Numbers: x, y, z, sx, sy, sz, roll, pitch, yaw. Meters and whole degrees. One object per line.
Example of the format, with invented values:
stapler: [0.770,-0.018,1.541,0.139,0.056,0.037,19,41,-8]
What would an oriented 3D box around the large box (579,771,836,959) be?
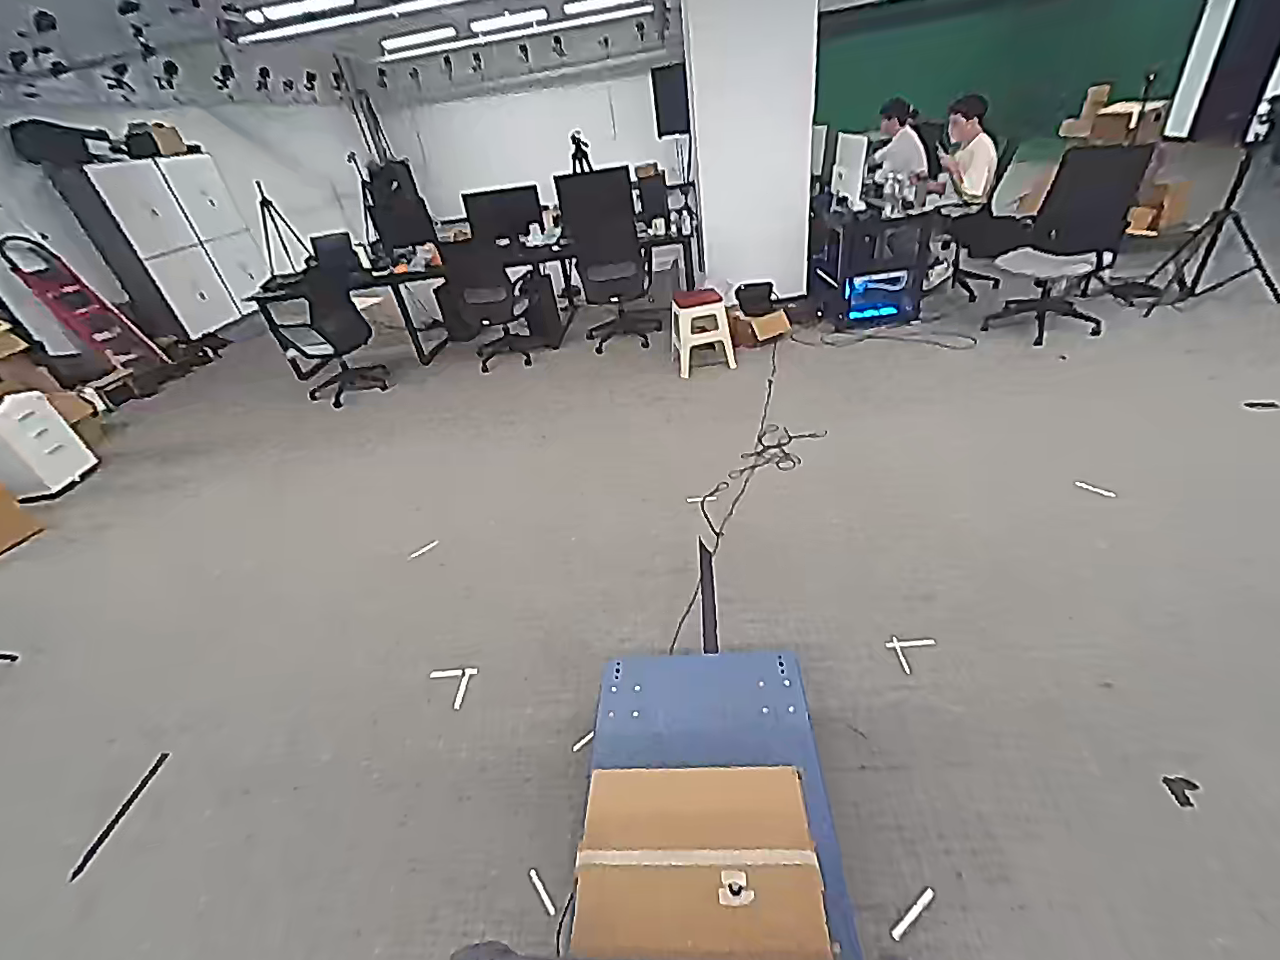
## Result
large box: [0.120,0.790,1.021,0.408,0.320,0.320,-5,35,6]
